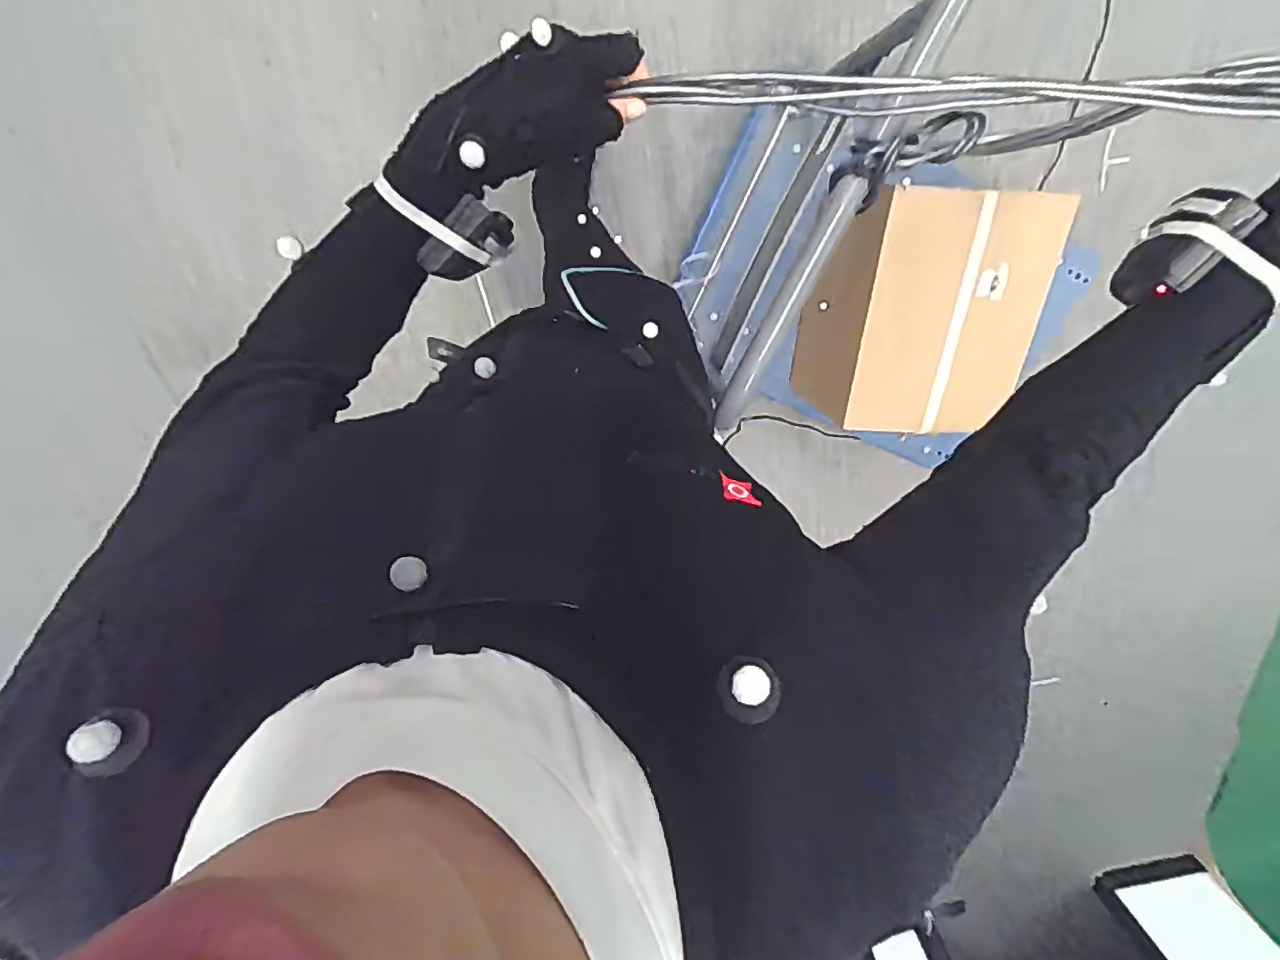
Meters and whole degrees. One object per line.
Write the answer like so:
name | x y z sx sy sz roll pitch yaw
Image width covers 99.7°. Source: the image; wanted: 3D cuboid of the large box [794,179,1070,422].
large box | 0.527 -0.351 1.076 0.320 0.320 0.408 1 115 -6
